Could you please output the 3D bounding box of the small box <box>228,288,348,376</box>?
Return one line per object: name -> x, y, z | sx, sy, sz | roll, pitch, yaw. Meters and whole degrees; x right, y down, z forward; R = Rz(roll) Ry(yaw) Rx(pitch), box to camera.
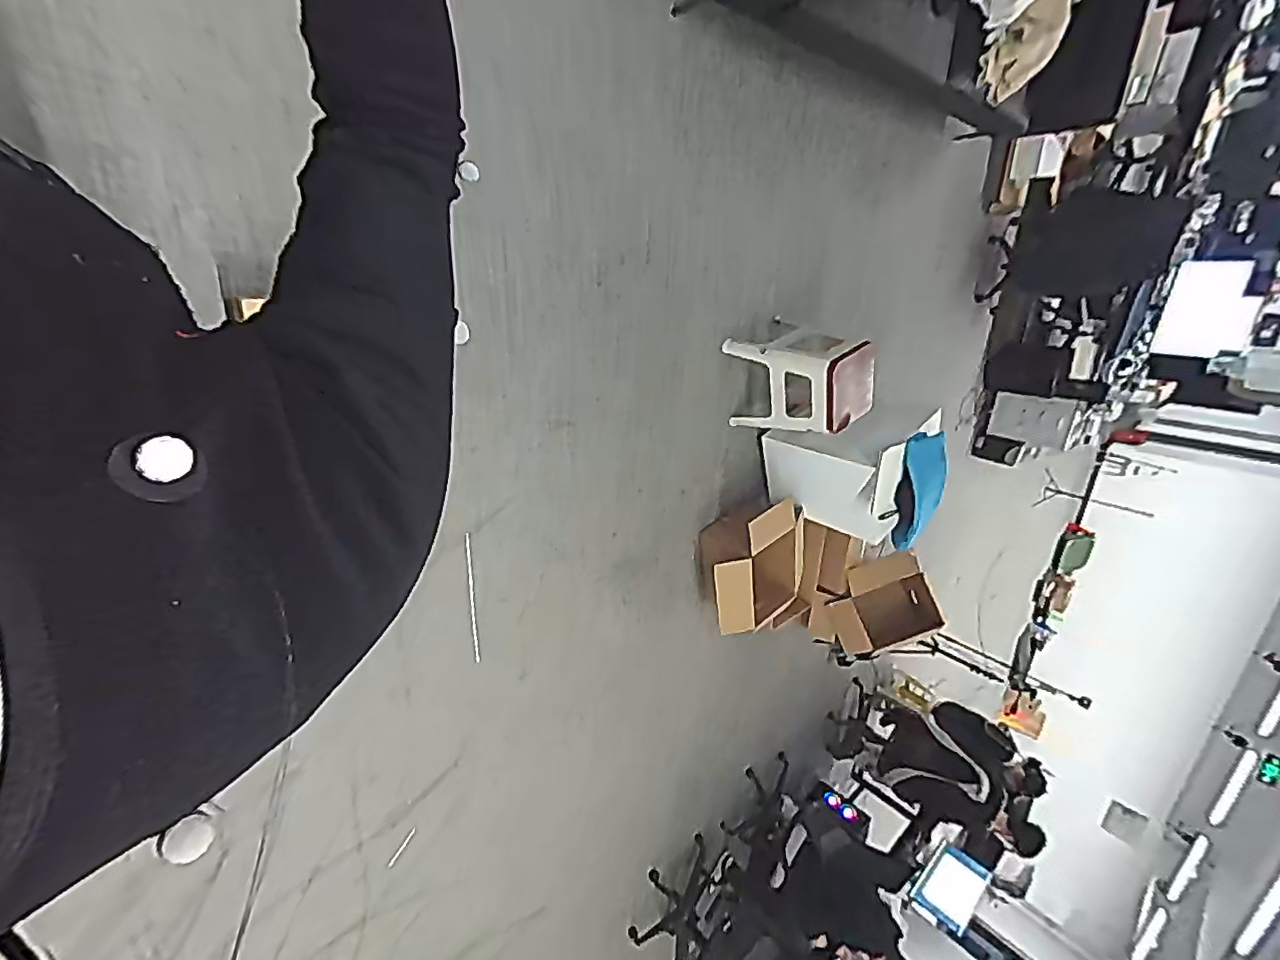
small box -> -0.758, -0.324, 1.166 | 0.179, 0.176, 0.168 | -15, 117, -39
